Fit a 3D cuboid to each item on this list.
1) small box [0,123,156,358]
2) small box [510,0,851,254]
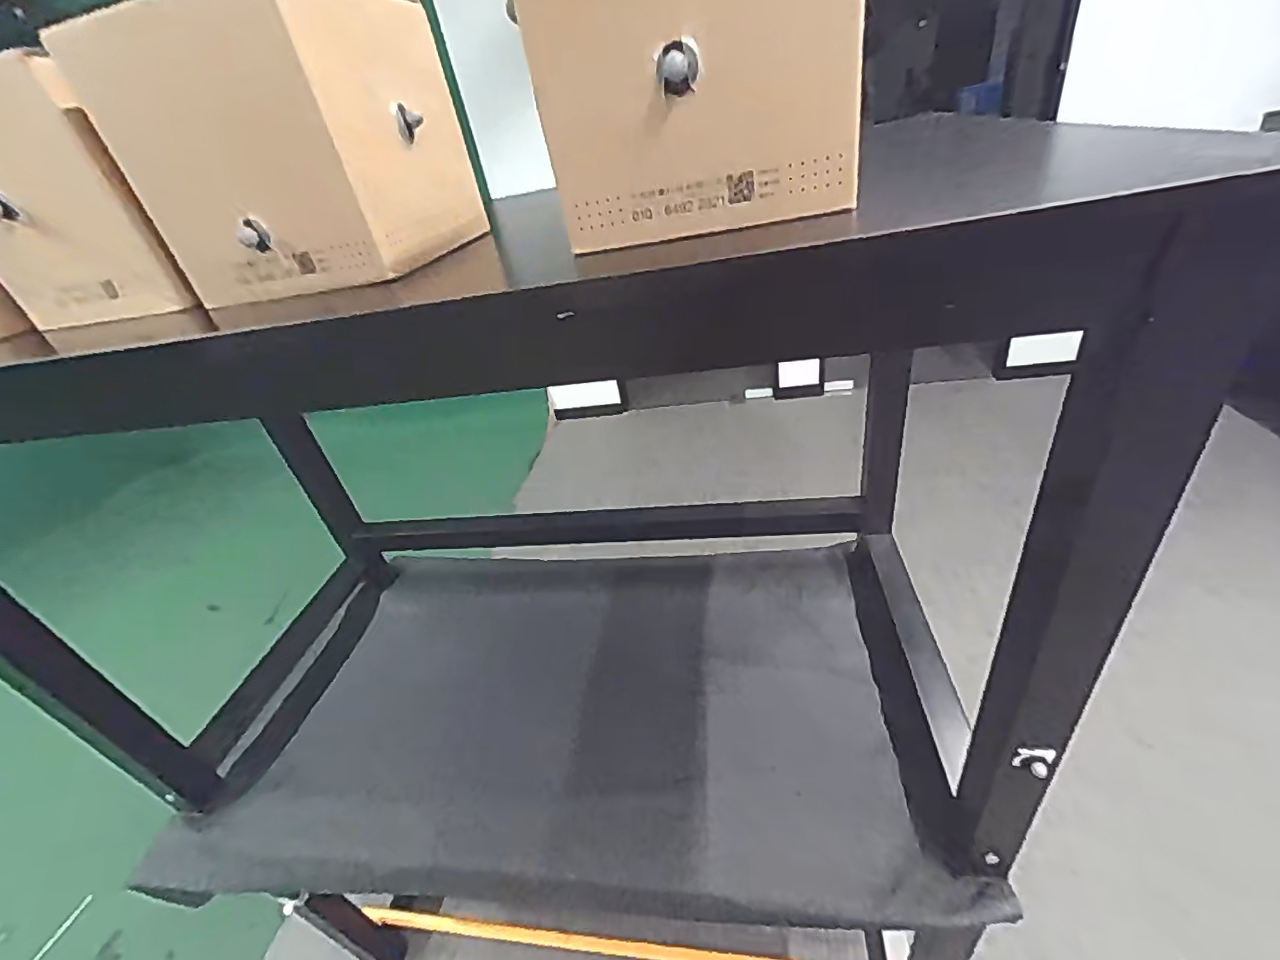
[{"bbox_3d":[-0.624,-0.222,0.512,0.168,0.176,0.179,-3,35,14],"label":"small box"},{"bbox_3d":[0.036,-0.252,0.341,0.168,0.176,0.179,-3,34,13],"label":"small box"}]
